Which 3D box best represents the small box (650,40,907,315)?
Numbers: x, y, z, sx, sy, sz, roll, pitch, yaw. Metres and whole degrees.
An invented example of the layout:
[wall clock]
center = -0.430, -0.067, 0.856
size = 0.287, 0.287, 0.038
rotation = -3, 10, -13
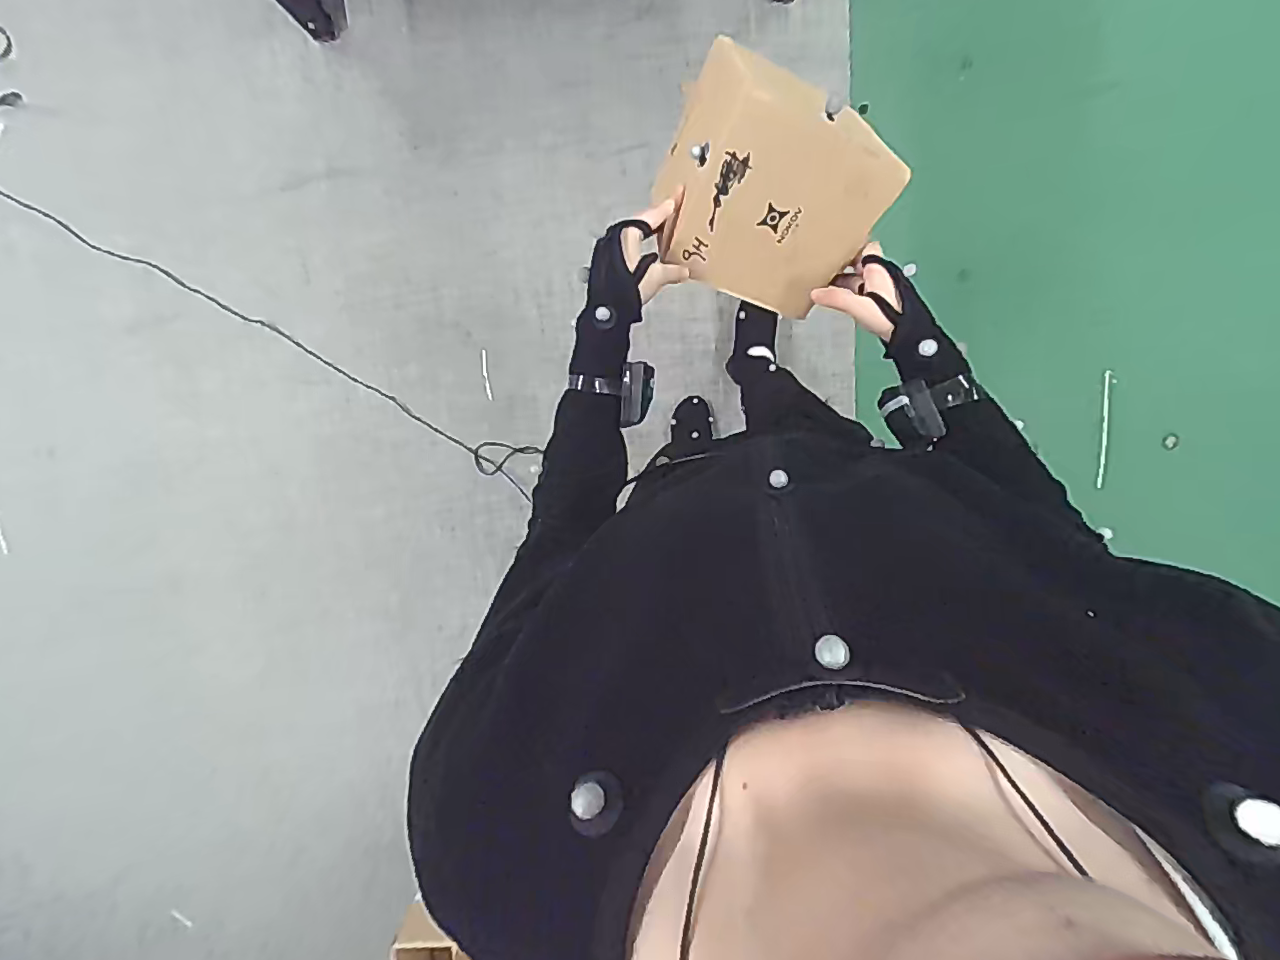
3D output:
[small box]
center = 0.122, -0.305, 0.551
size = 0.179, 0.176, 0.168
rotation = 13, 136, -19
